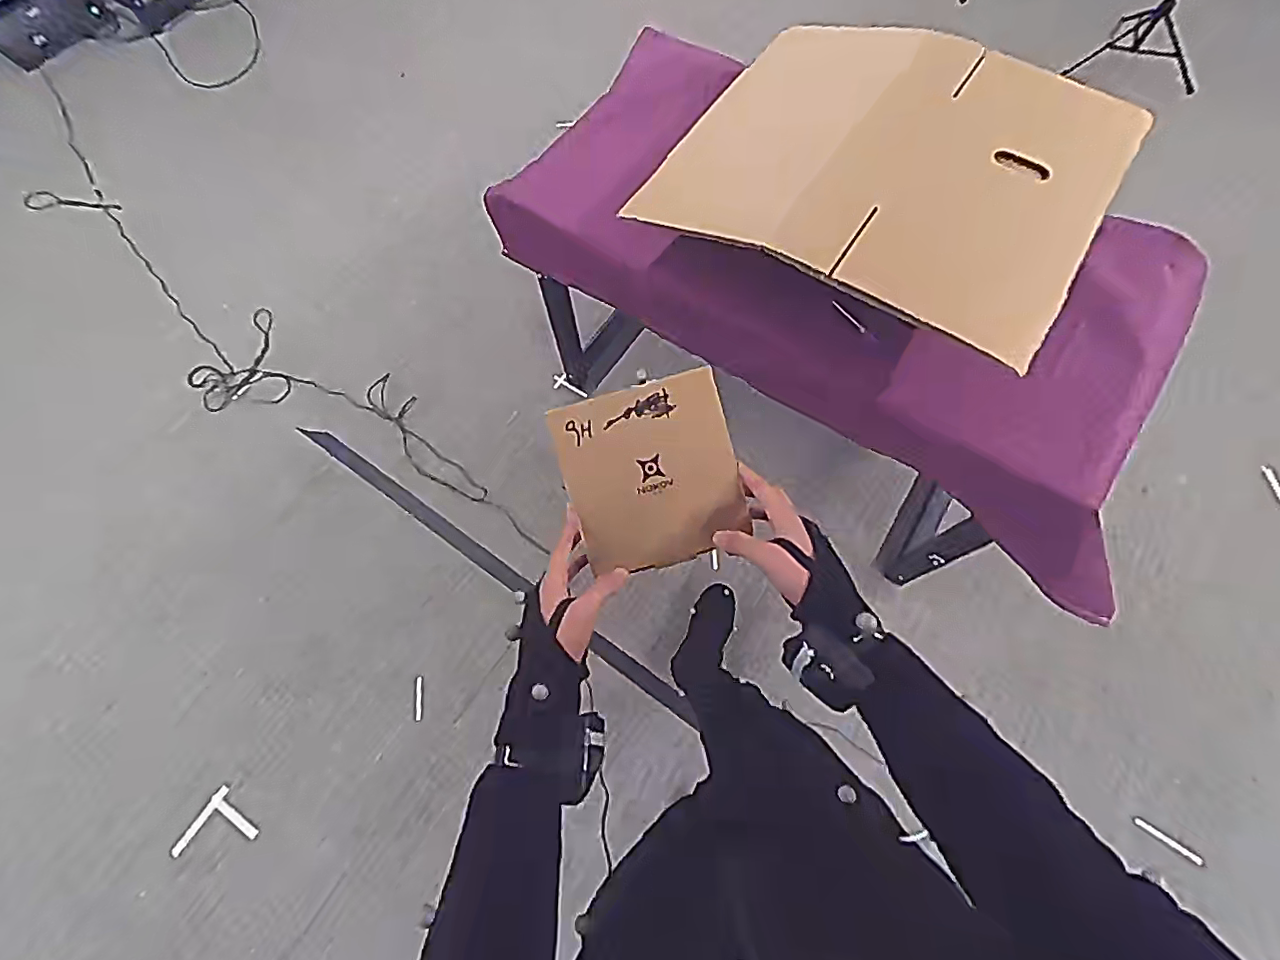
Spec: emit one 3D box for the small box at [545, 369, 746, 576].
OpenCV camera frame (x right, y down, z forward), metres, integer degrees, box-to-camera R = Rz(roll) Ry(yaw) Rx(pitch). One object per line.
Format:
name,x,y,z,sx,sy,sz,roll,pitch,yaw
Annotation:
small box,0.004,-0.018,0.606,0.168,0.176,0.179,-16,99,-2
